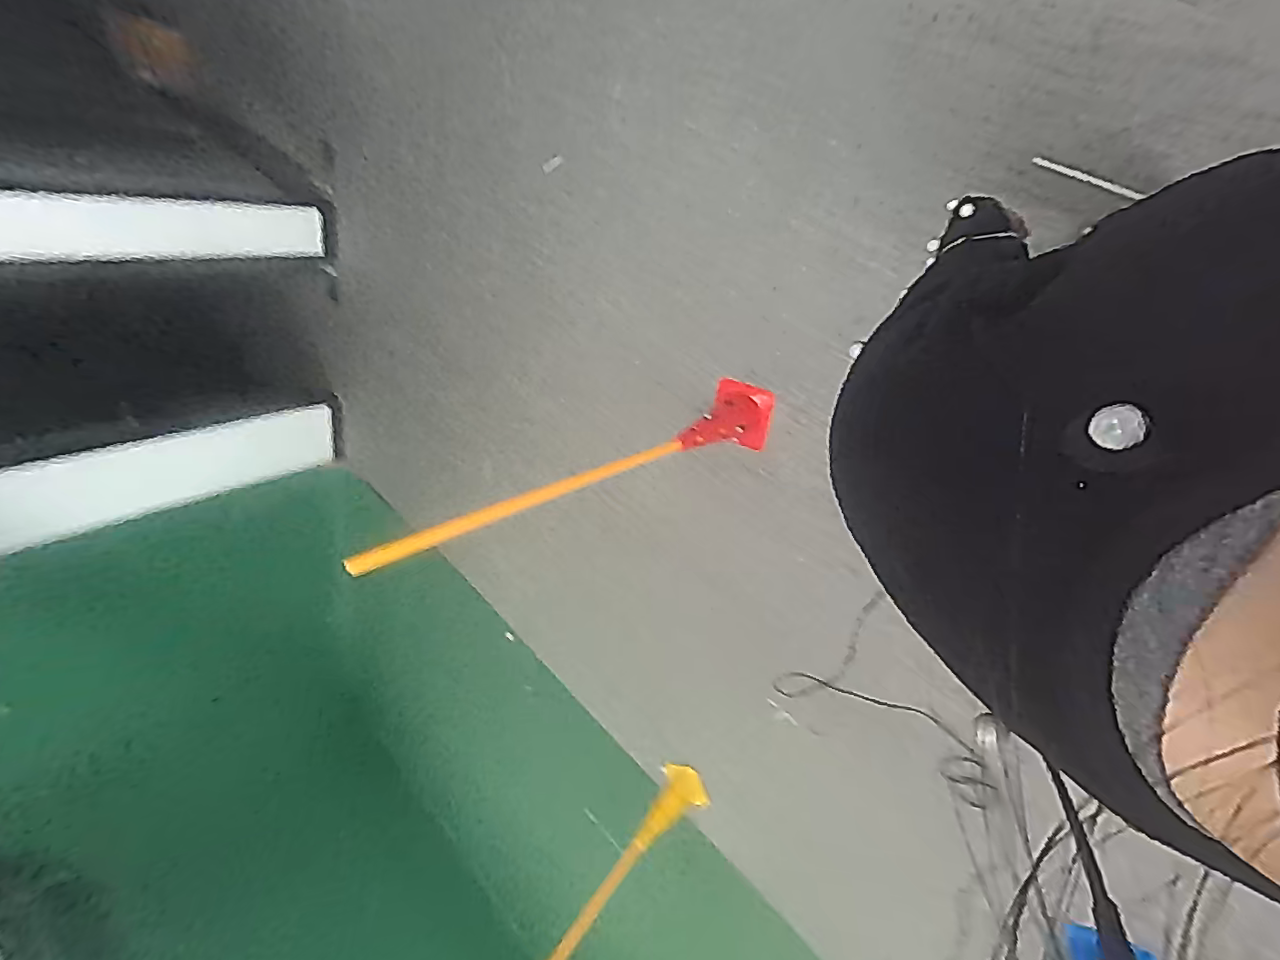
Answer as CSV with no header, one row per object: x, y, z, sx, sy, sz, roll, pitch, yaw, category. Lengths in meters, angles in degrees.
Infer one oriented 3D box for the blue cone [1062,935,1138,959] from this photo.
1.215,1.431,1.396,0.193,0.380,0.192,-6,103,39,blue cone
